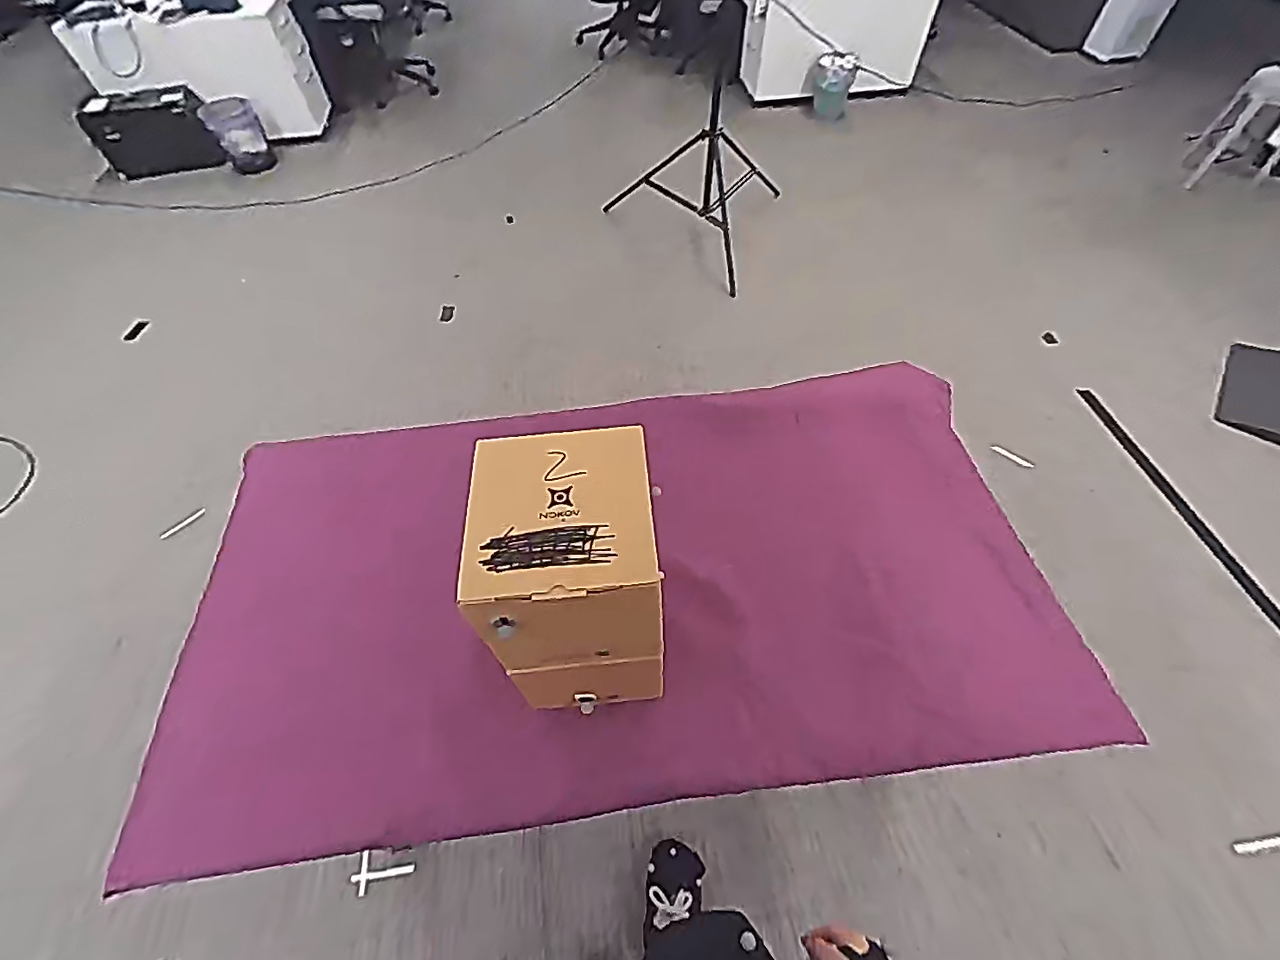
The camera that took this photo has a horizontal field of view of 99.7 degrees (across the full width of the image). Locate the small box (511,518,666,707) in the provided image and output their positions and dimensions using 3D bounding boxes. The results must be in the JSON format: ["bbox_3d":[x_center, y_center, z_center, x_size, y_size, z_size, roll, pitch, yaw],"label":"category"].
[{"bbox_3d":[-0.060,0.169,0.680,0.168,0.176,0.179,-5,55,-2],"label":"small box"}]
